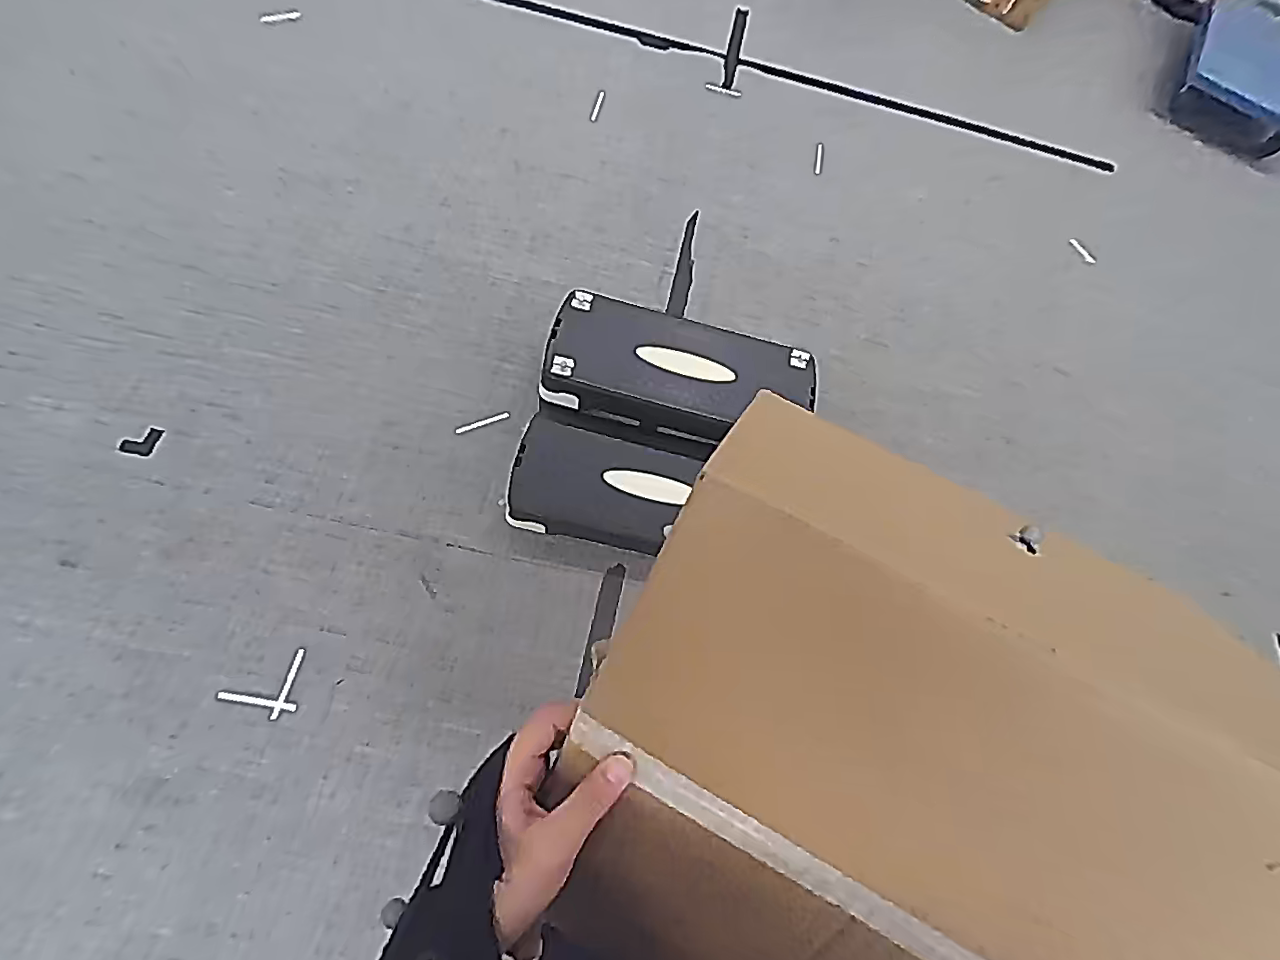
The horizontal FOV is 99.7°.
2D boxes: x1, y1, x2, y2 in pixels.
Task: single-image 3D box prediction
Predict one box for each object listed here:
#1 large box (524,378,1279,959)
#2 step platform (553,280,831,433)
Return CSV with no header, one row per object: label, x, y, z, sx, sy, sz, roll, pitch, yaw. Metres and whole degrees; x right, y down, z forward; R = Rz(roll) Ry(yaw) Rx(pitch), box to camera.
large box,0.196,0.153,0.395,0.408,0.320,0.320,27,22,8
step platform,0.130,-0.253,1.380,0.684,0.204,0.286,19,67,-2
